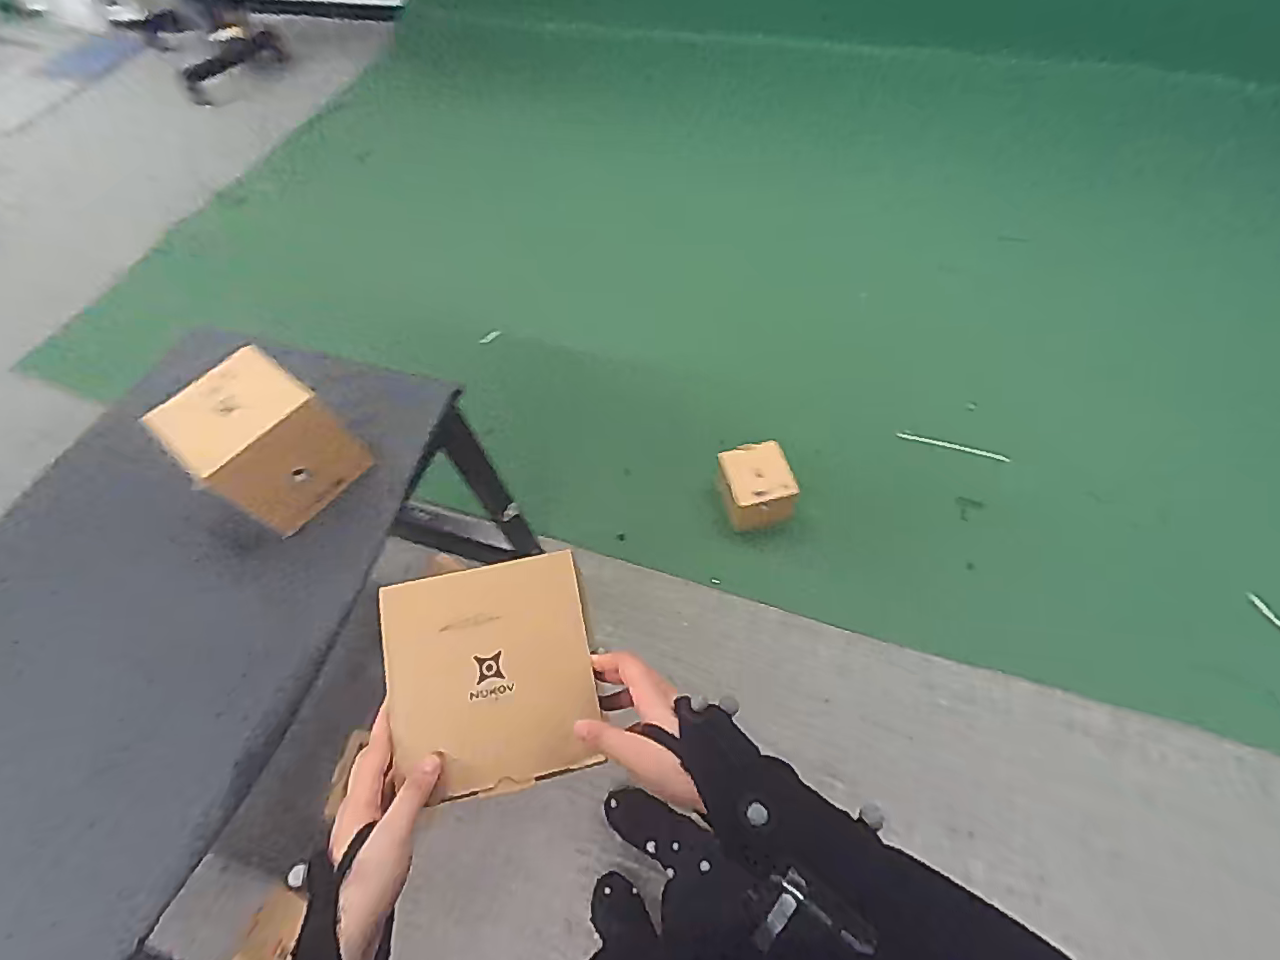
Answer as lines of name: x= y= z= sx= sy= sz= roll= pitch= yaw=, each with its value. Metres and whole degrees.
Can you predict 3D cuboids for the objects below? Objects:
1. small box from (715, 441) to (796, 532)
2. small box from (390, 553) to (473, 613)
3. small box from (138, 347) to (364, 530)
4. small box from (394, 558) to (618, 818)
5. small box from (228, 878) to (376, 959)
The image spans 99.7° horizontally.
small box: x=0.316 y=0.021 z=1.526 sx=0.168 sy=0.176 sz=0.179 roll=-14 pitch=59 yaw=-4
small box: x=-0.498 y=0.327 z=1.405 sx=0.168 sy=0.176 sz=0.179 roll=26 pitch=64 yaw=17
small box: x=-0.543 y=-0.051 z=0.780 sx=0.179 sy=0.176 sz=0.168 roll=33 pitch=67 yaw=23
small box: x=-0.113 y=0.182 z=0.511 sx=0.168 sy=0.176 sz=0.179 roll=-10 pitch=74 yaw=-6
small box: x=-0.670 y=0.928 z=1.075 sx=0.179 sy=0.176 sz=0.168 roll=18 pitch=63 yaw=14
